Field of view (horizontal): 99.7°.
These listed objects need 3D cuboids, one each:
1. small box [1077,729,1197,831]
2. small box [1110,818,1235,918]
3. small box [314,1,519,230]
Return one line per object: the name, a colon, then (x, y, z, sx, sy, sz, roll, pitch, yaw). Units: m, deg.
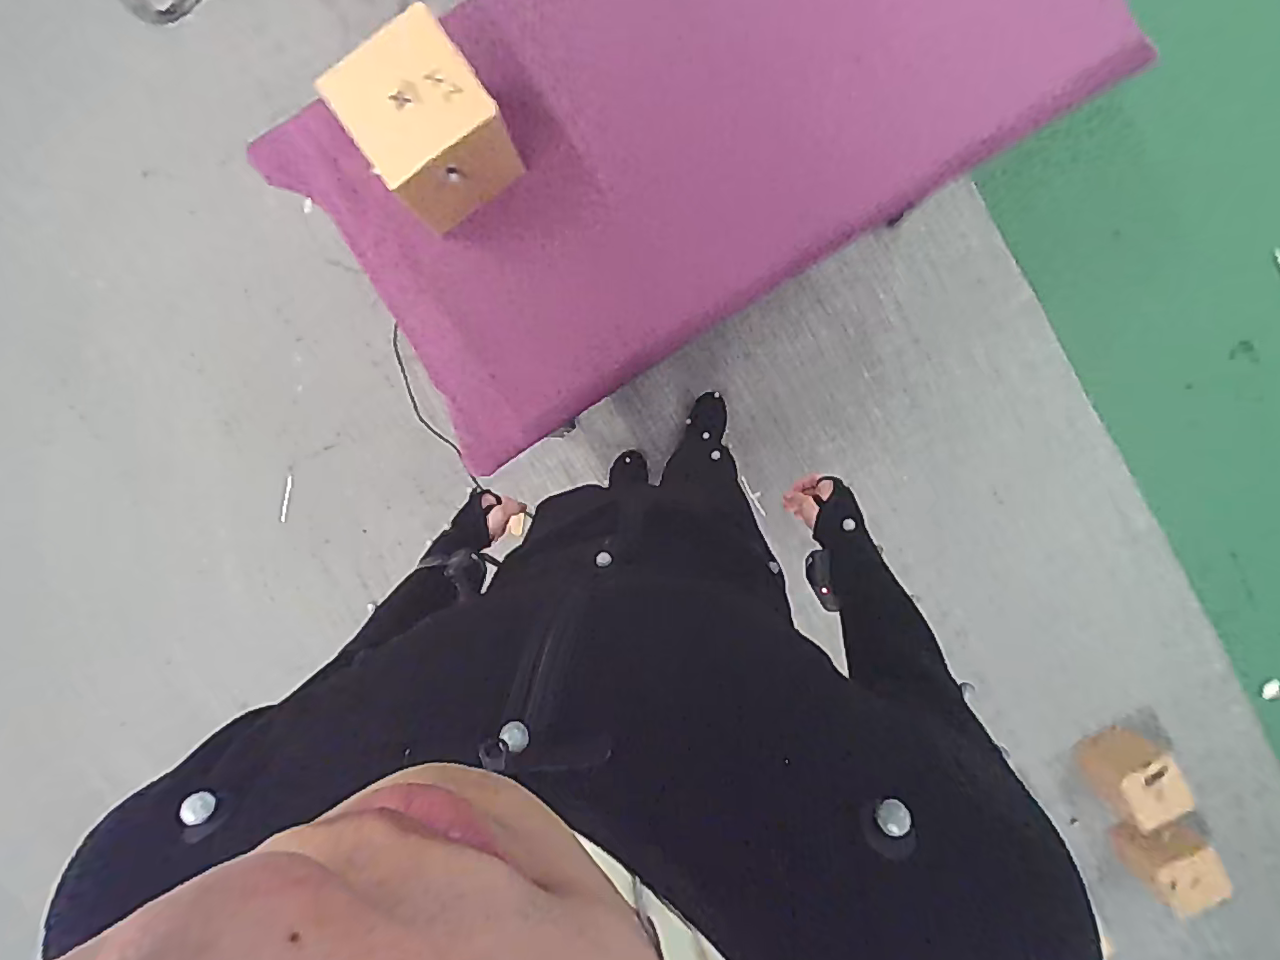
small box: (1.442, 0.863, 1.582, 0.168, 0.176, 0.179, -29, 94, 3)
small box: (1.567, 1.124, 1.601, 0.179, 0.176, 0.168, -28, 94, 1)
small box: (-0.299, -0.492, 0.764, 0.179, 0.176, 0.168, -35, 94, 3)
